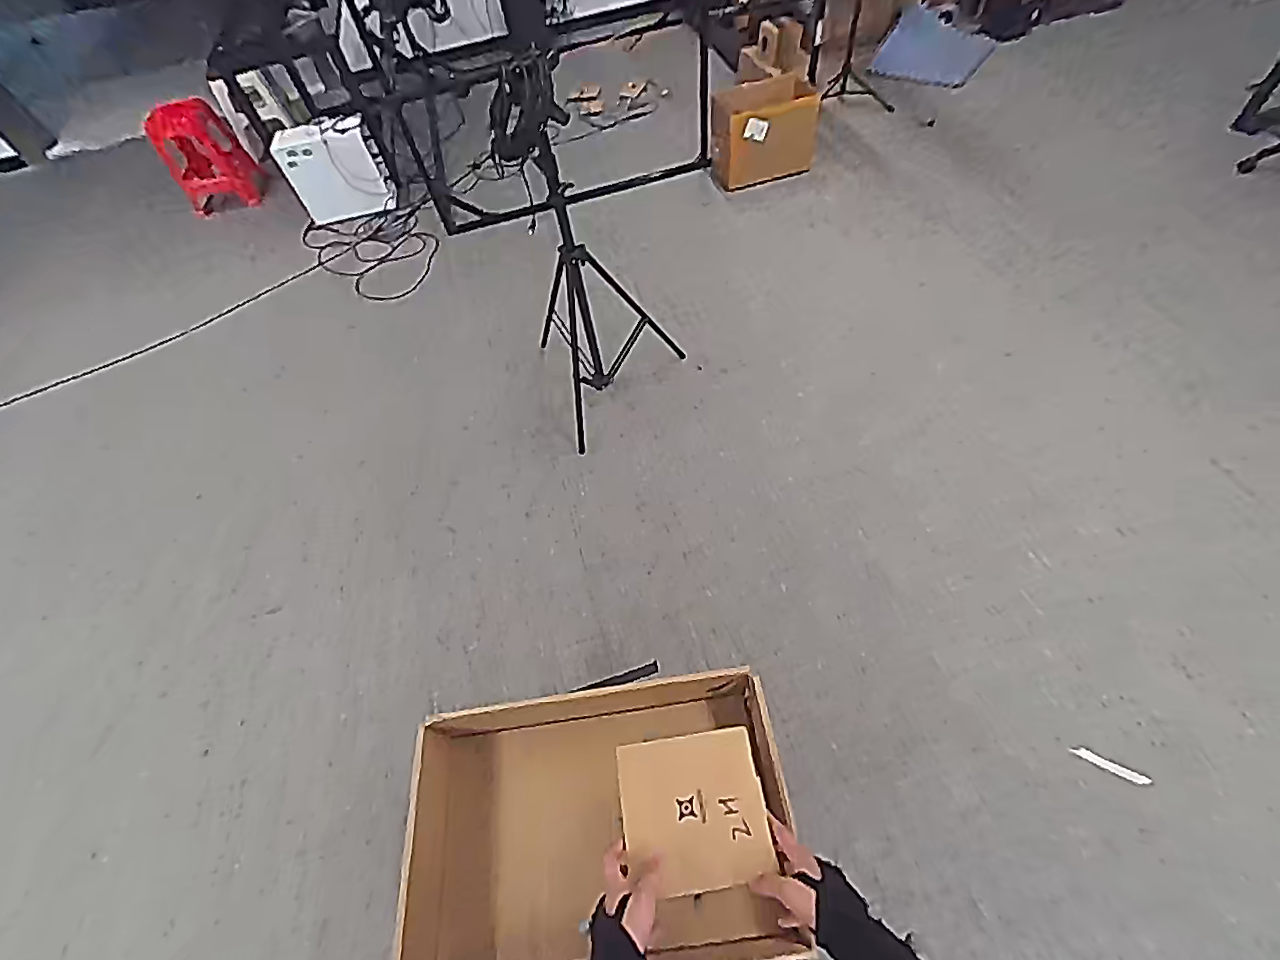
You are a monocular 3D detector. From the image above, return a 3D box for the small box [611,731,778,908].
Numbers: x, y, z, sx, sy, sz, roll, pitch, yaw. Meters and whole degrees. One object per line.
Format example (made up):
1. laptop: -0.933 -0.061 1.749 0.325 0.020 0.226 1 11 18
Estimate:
1. small box: 0.064 0.445 0.706 0.179 0.176 0.168 -8 53 -3
